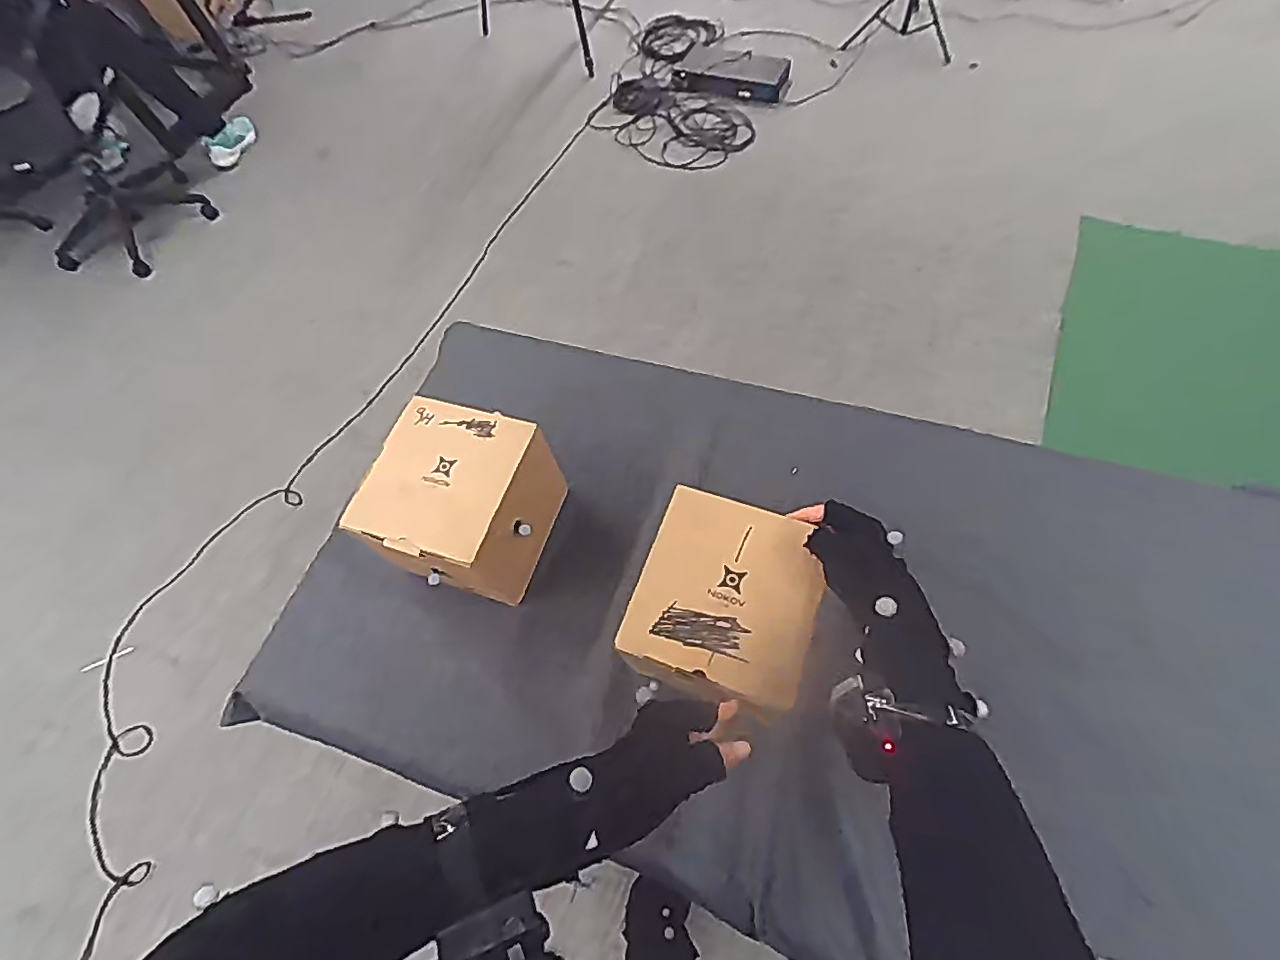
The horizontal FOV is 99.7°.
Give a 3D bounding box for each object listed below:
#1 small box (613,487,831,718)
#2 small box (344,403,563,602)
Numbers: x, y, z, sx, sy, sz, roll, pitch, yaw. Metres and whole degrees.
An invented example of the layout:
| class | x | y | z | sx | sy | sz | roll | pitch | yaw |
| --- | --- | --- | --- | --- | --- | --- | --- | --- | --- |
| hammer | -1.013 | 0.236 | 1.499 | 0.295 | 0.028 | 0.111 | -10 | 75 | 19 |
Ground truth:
| class | x | y | z | sx | sy | sz | roll | pitch | yaw |
| --- | --- | --- | --- | --- | --- | --- | --- | --- | --- |
| small box | 0.090 | 0.138 | 0.580 | 0.168 | 0.176 | 0.179 | 16 | 66 | 15 |
| small box | -0.211 | 0.035 | 0.671 | 0.168 | 0.176 | 0.179 | 14 | 67 | 13 |
